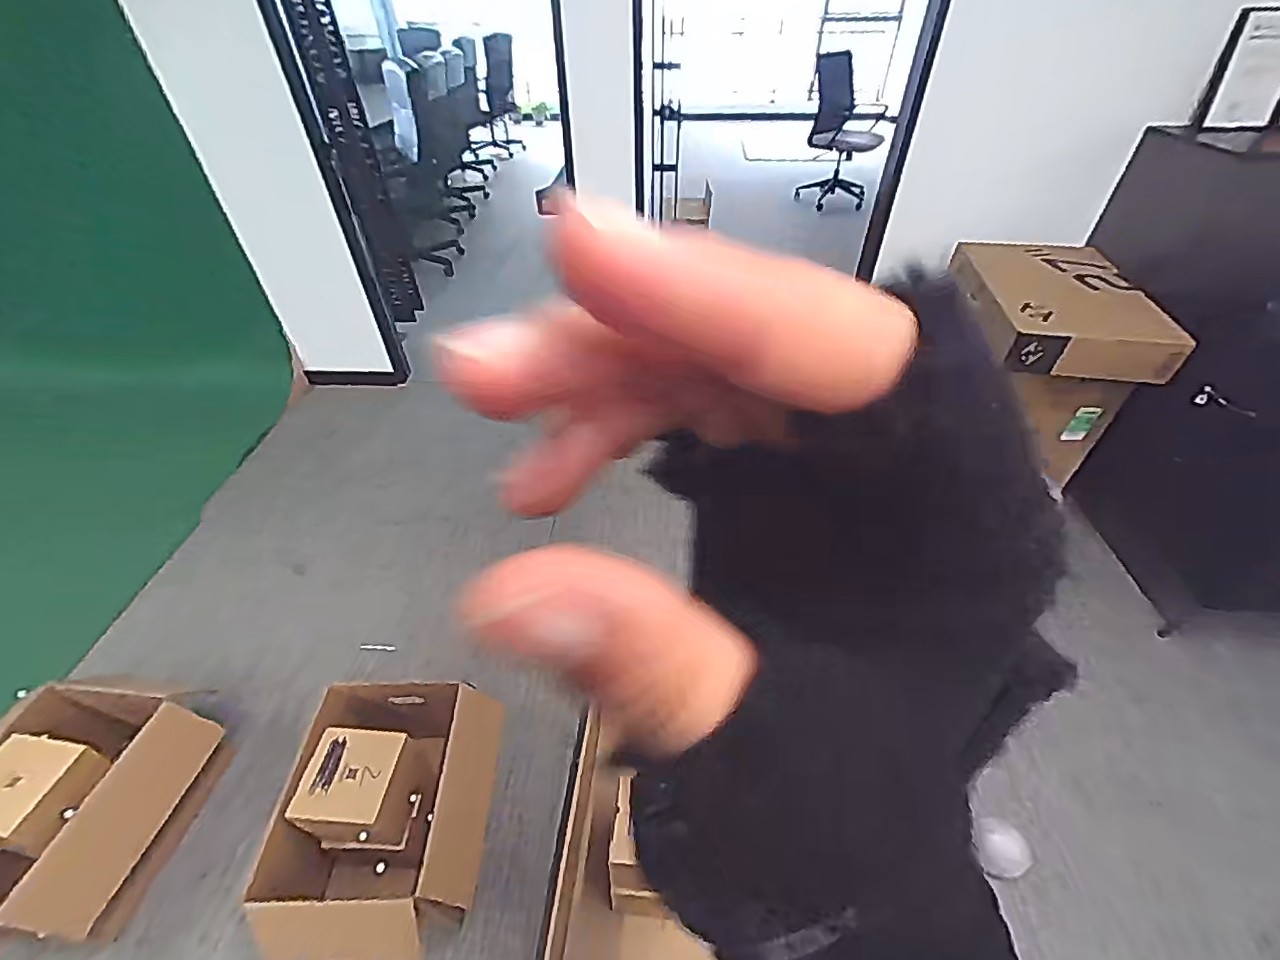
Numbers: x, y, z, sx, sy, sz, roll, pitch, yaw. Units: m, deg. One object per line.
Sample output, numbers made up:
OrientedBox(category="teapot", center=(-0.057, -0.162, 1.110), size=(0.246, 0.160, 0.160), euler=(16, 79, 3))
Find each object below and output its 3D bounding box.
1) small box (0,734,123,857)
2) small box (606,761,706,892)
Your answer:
OrientedBox(category="small box", center=(-1.236, 0.646, 1.102), size=(0.179, 0.176, 0.168), euler=(6, 42, 5))
OrientedBox(category="small box", center=(0.032, 0.668, 1.042), size=(0.179, 0.176, 0.168), euler=(5, 41, 3))
